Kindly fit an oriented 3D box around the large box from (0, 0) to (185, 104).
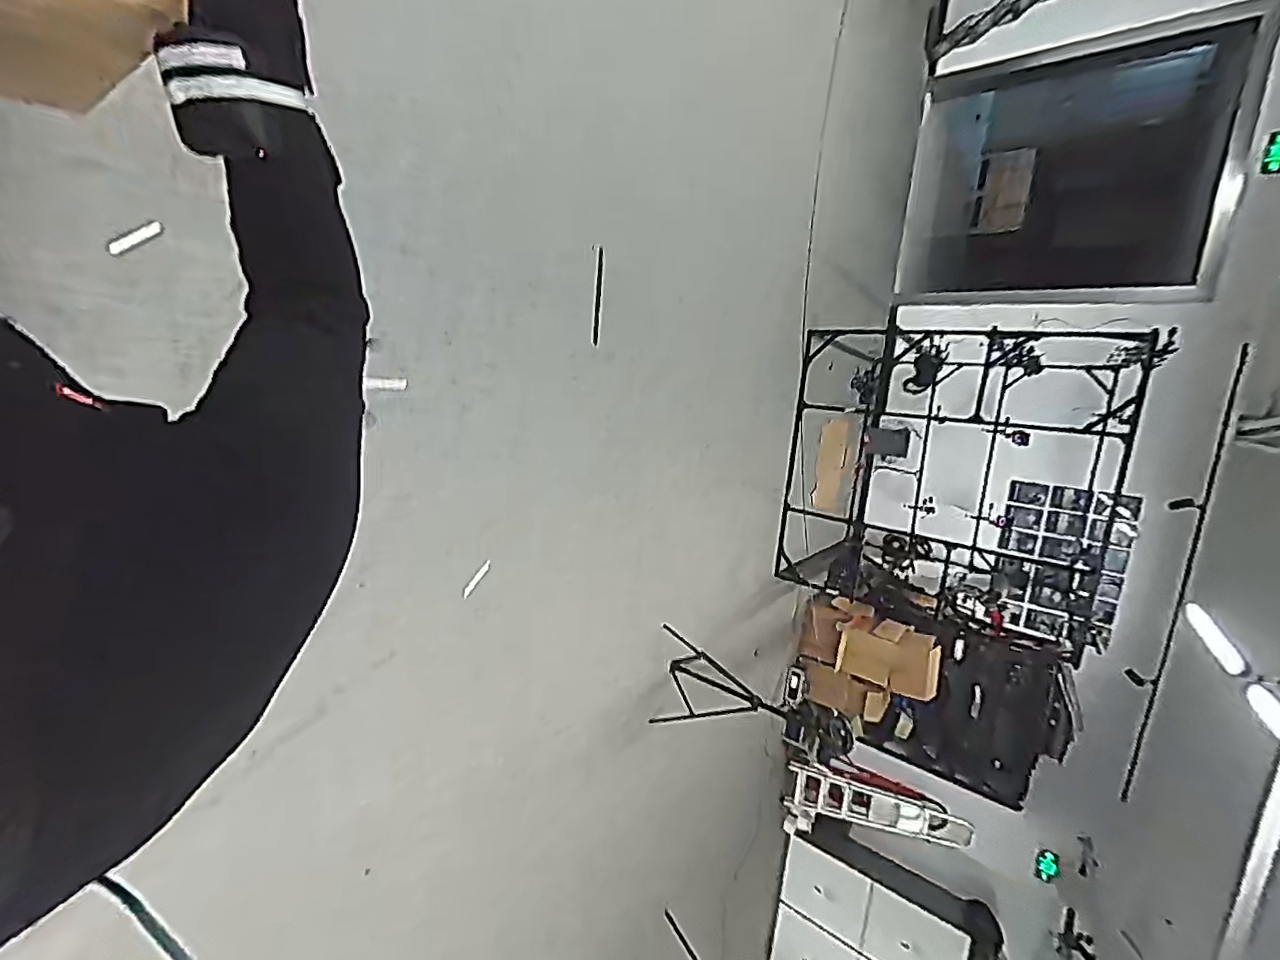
[{"bbox_3d":[-0.520,-0.446,0.241,0.408,0.320,0.320,-12,111,-54],"label":"large box"}]
